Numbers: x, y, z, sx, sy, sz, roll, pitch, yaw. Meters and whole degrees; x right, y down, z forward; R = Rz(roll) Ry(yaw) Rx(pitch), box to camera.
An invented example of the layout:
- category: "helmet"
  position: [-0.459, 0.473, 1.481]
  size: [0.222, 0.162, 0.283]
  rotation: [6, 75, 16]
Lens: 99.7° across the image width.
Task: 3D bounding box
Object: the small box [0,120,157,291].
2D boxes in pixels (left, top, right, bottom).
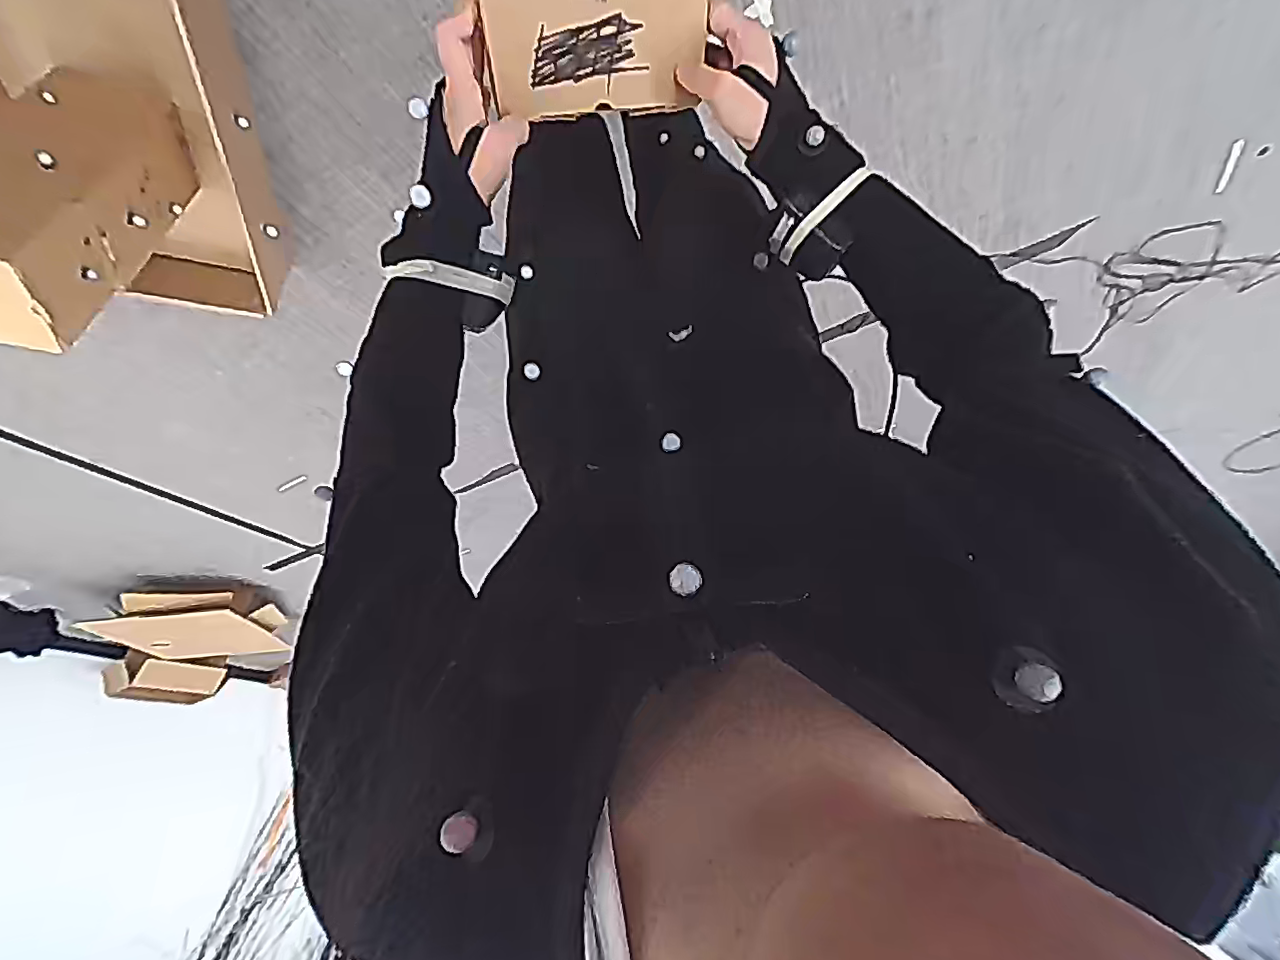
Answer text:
- category: "small box"
  position: [-0.933, -0.444, 0.879]
  size: [0.179, 0.176, 0.168]
  rotation: [8, 143, -20]

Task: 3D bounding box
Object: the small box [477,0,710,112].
- category: "small box"
  position: [-0.046, -0.414, 0.416]
  size: [0.168, 0.176, 0.179]
  rotation: [-11, 140, -10]

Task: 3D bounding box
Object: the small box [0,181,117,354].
- category: "small box"
  position: [-0.926, -0.314, 0.780]
  size: [0.179, 0.176, 0.168]
  rotation: [8, 143, -19]
